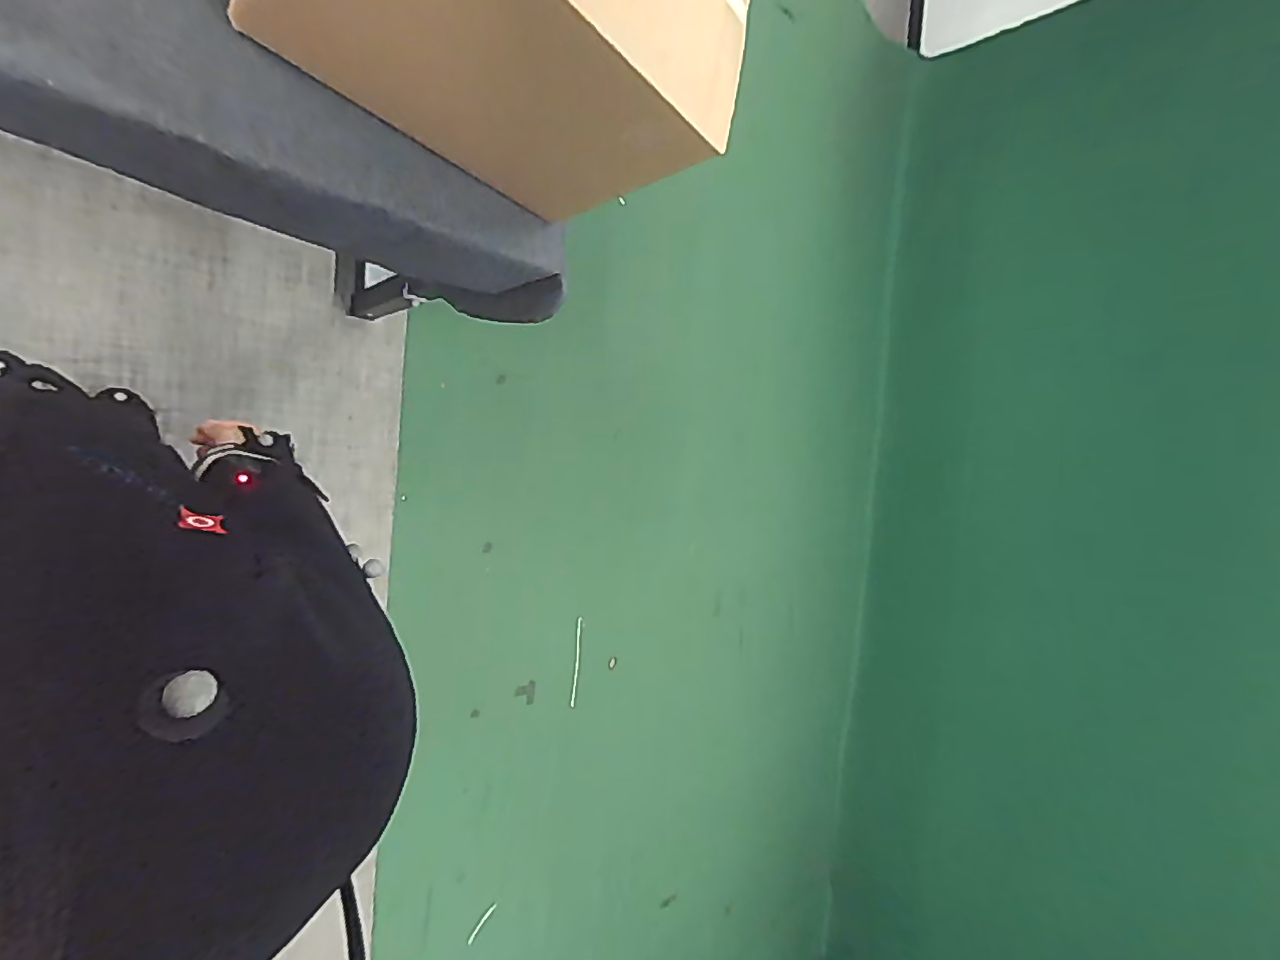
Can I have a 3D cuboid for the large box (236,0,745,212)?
[{"bbox_3d":[-0.130,-0.556,0.566,0.408,0.320,0.320,12,87,-47],"label":"large box"}]
